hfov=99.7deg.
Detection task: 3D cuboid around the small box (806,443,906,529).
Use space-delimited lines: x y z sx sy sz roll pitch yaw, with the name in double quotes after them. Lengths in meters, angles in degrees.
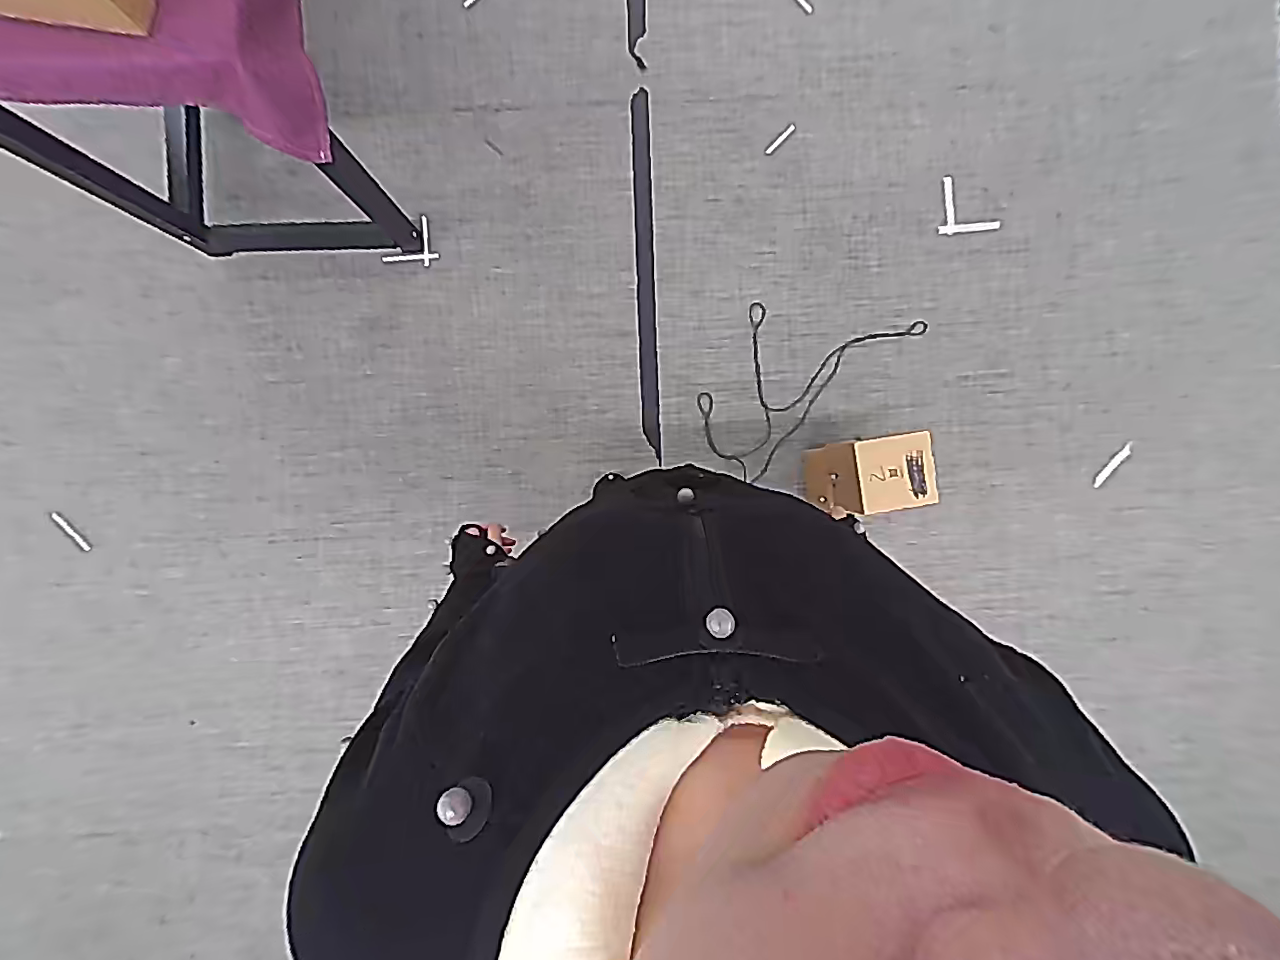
0.554 0.014 1.399 0.179 0.176 0.168 -11 111 -19 "small box"
